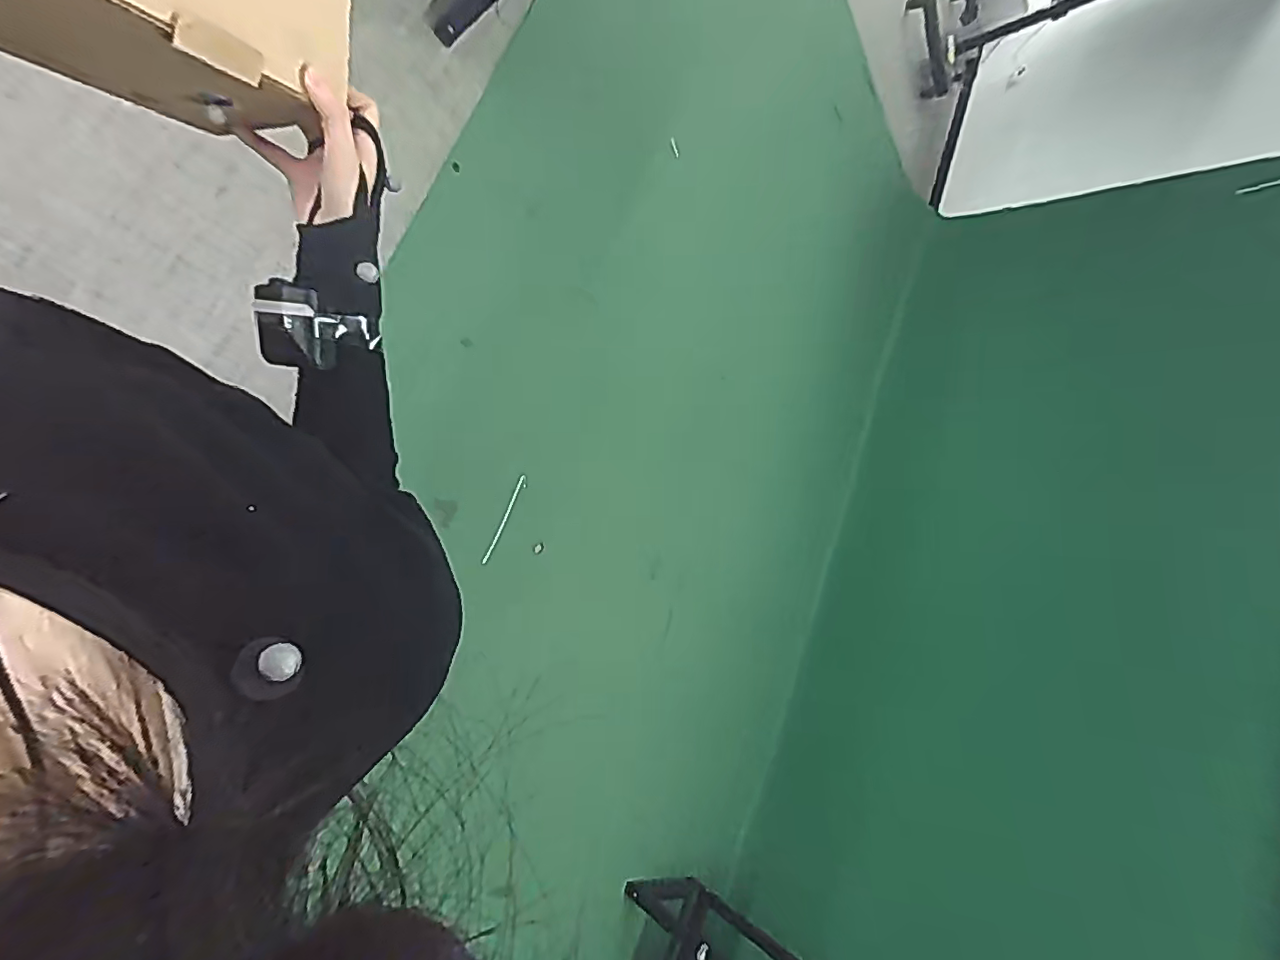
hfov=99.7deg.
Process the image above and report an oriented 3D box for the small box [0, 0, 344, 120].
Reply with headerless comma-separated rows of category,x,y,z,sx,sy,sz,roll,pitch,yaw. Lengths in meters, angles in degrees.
small box,-0.311,-0.354,0.333,0.168,0.176,0.179,-14,113,-64
